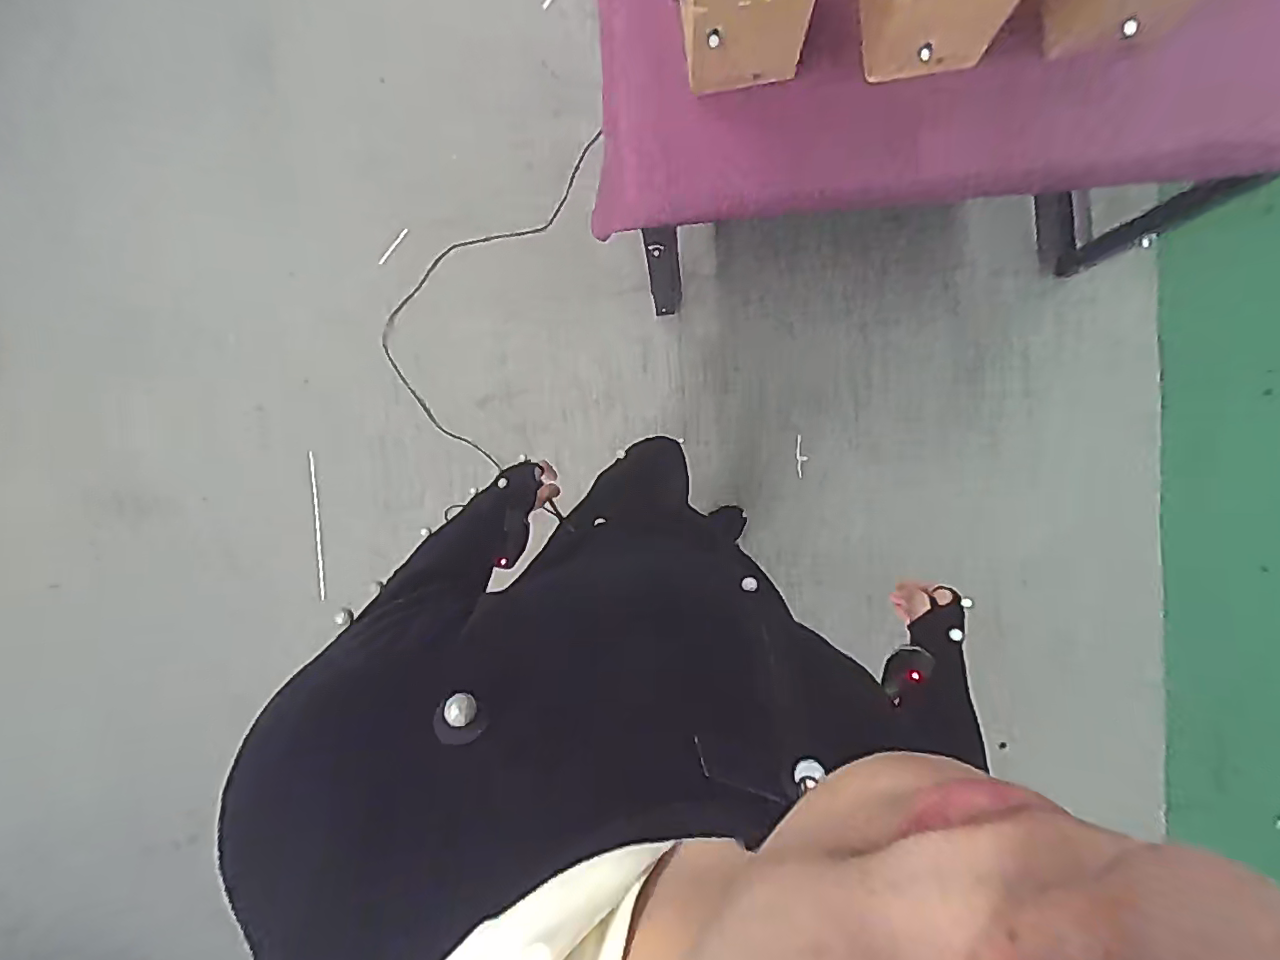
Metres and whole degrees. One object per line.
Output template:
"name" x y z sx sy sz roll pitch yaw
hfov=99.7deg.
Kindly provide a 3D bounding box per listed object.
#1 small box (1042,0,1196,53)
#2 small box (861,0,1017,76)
"small box" 0.686 -0.743 0.739 0.168 0.176 0.179 -6 91 5
"small box" 0.422 -0.725 0.763 0.168 0.176 0.179 -5 92 4
